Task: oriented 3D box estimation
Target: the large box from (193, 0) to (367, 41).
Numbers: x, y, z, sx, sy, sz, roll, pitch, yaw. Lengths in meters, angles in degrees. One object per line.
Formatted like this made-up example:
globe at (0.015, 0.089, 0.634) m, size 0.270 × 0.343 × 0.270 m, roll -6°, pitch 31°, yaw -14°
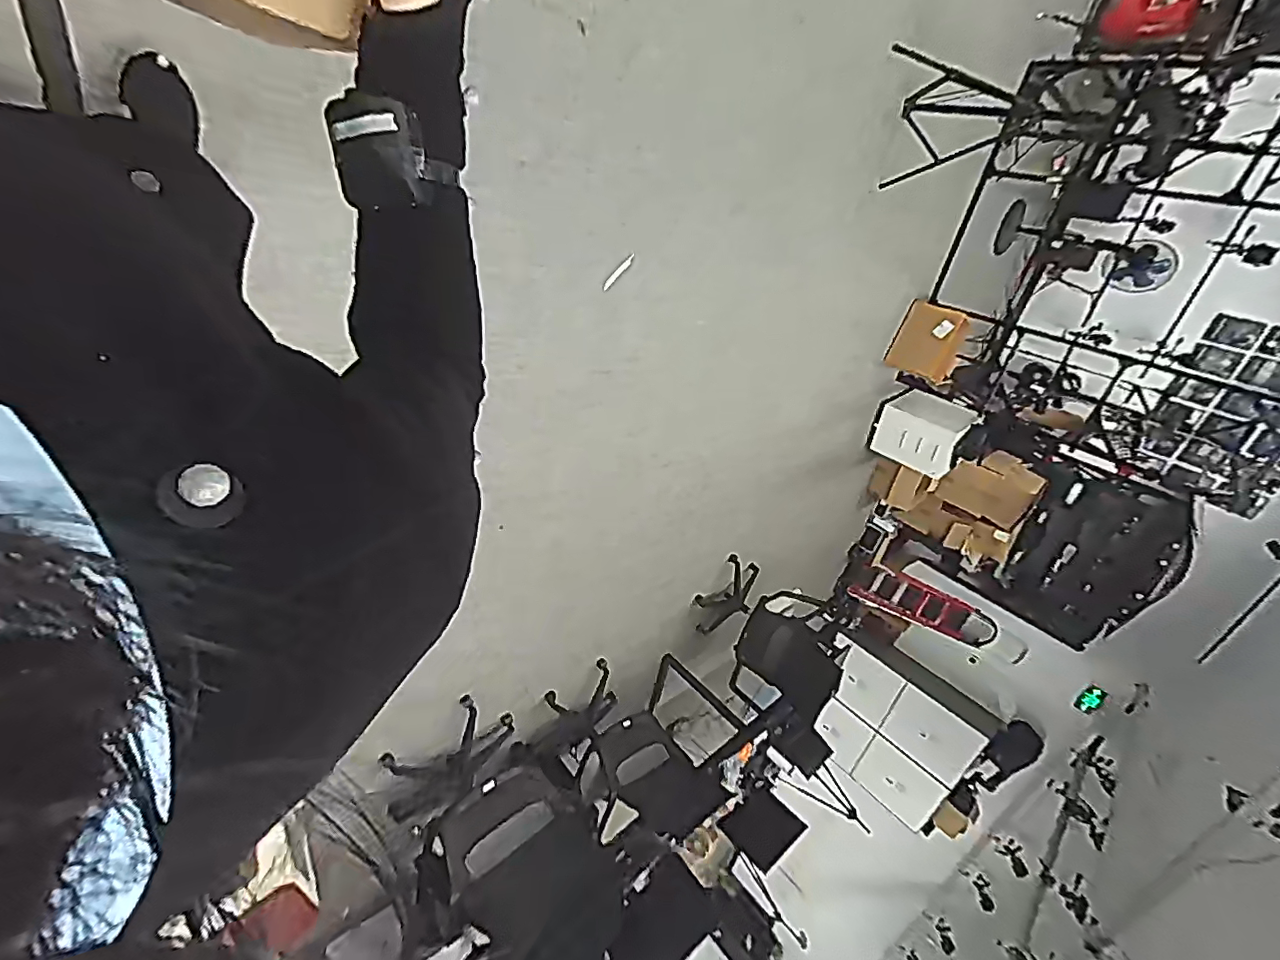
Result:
large box at (-0.380, -0.497, 0.275) m, size 0.408 × 0.320 × 0.320 m, roll -3°, pitch 122°, yaw -42°
